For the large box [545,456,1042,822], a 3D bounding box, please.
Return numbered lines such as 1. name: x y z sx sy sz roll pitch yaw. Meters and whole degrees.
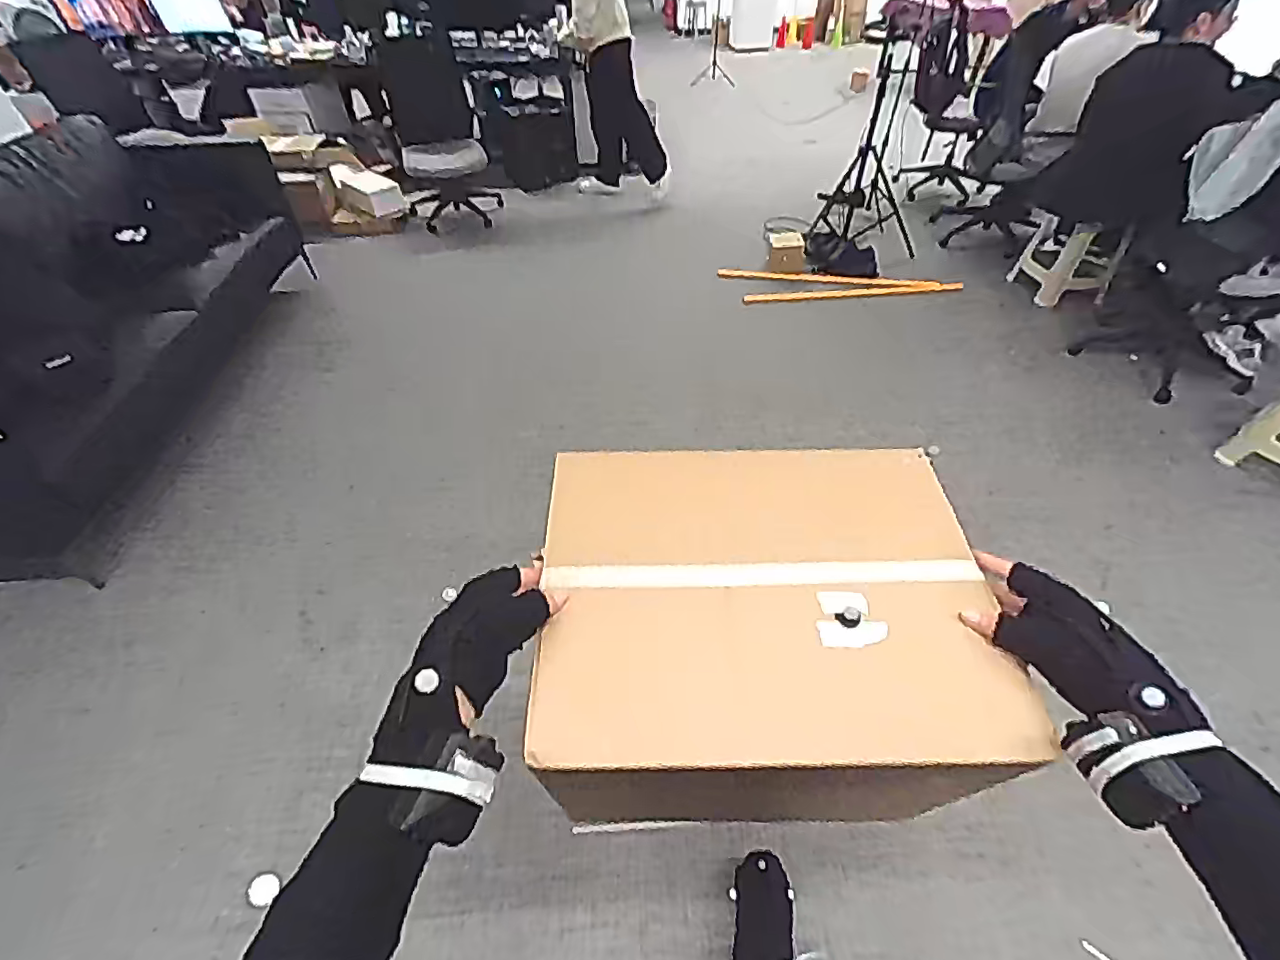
1. large box: 0.115 0.189 0.629 0.408 0.320 0.320 -1 51 -1
